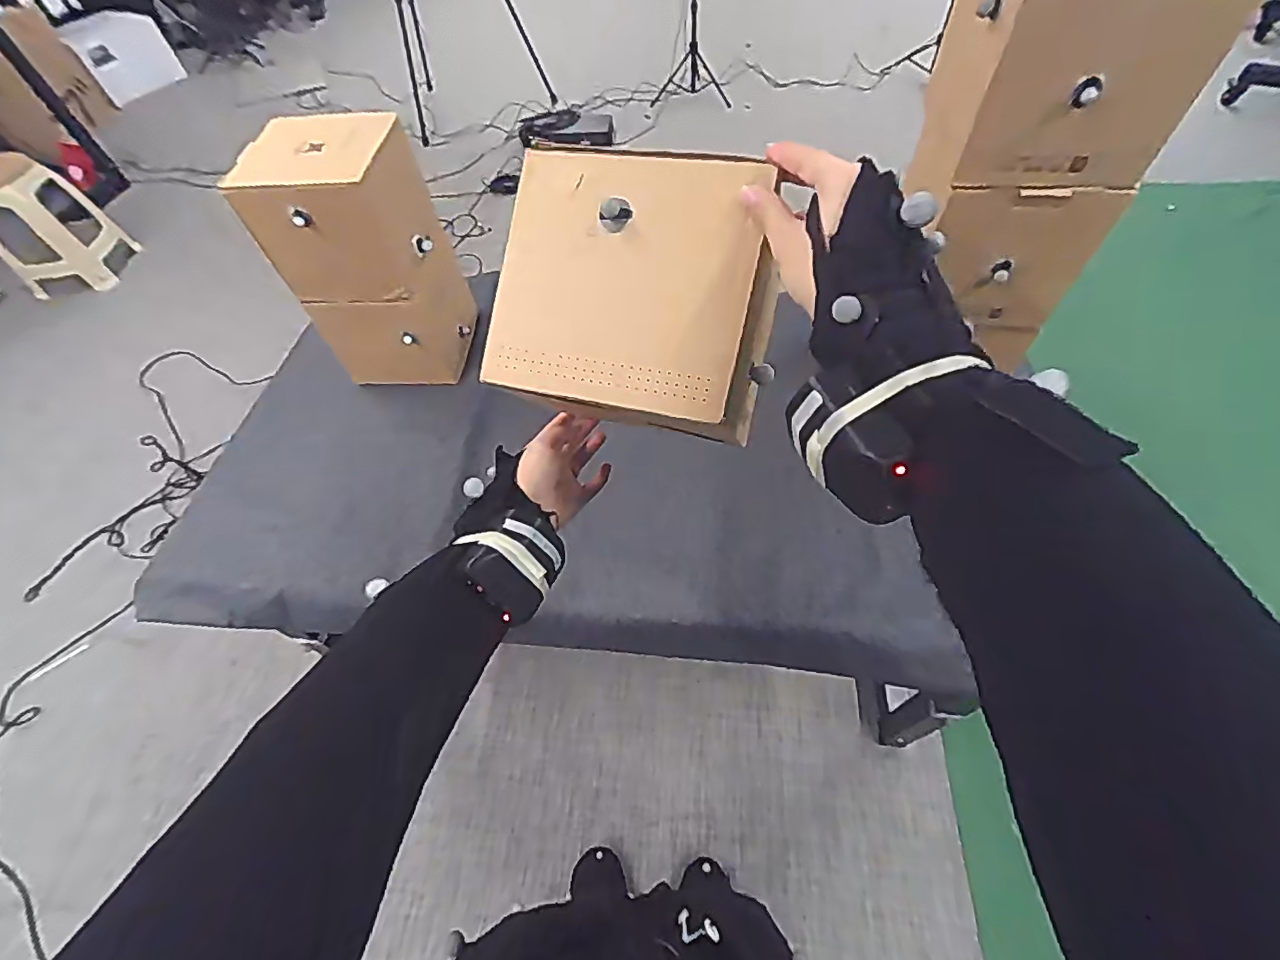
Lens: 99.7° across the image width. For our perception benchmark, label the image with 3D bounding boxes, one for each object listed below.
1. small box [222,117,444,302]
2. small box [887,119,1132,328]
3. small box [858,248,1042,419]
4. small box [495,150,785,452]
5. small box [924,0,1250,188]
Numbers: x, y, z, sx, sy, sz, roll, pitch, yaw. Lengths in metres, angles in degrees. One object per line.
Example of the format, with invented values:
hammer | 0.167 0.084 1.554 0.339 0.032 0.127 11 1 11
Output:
small box | -0.392 -0.358 0.730 0.179 0.176 0.168 1 58 3
small box | 0.400 -0.297 0.625 0.168 0.176 0.179 5 58 8
small box | 0.415 -0.210 0.763 0.168 0.176 0.179 5 58 8
small box | 0.009 -0.126 0.428 0.179 0.168 0.176 13 92 16
small box | 0.381 -0.388 0.489 0.168 0.176 0.179 4 57 7
